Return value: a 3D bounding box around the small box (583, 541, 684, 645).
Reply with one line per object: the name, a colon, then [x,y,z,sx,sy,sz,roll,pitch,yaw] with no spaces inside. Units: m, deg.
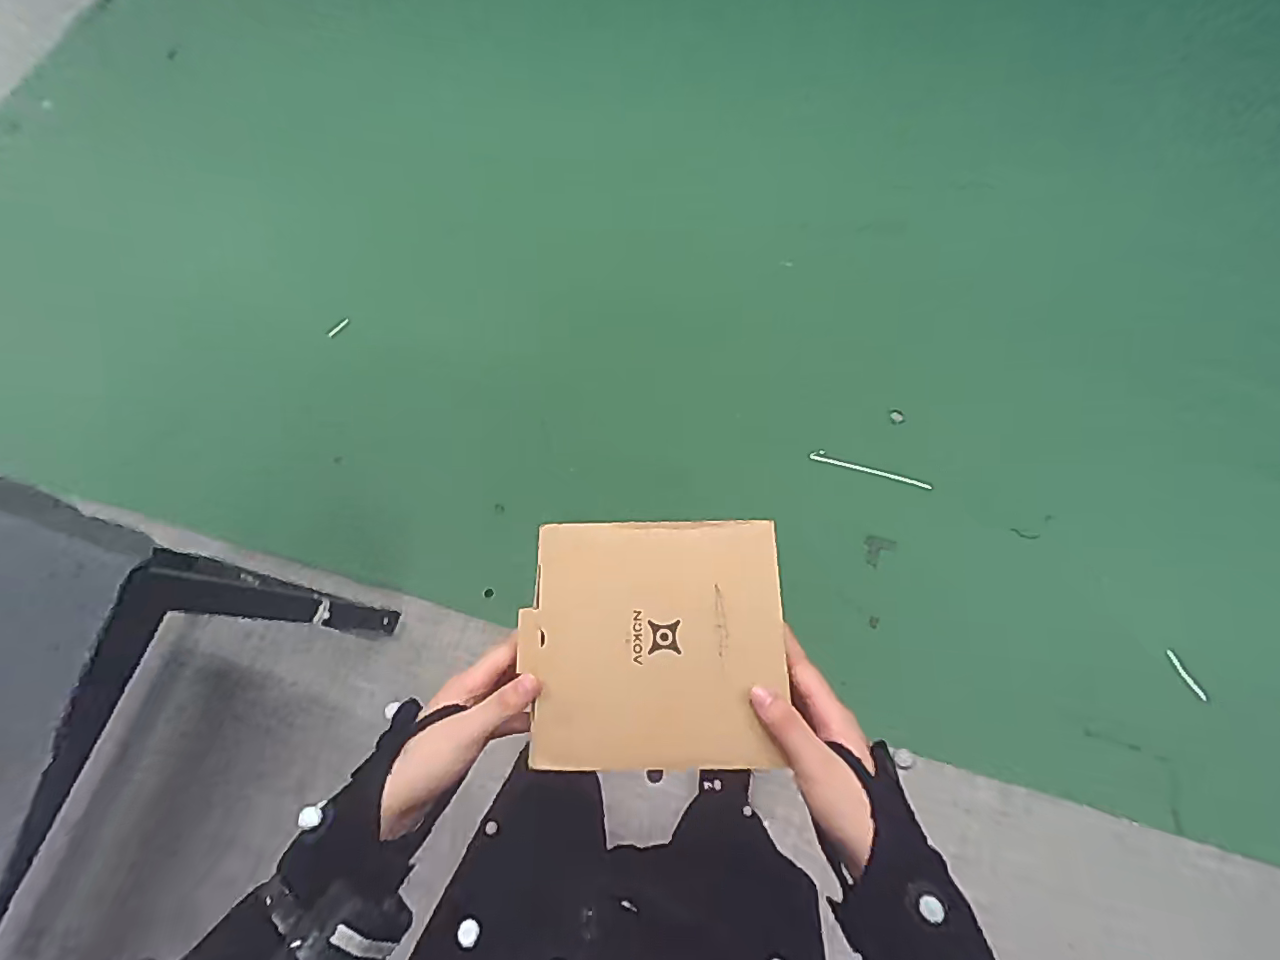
small box: [-0.010,0.271,1.270,0.168,0.176,0.179,31,76,11]
